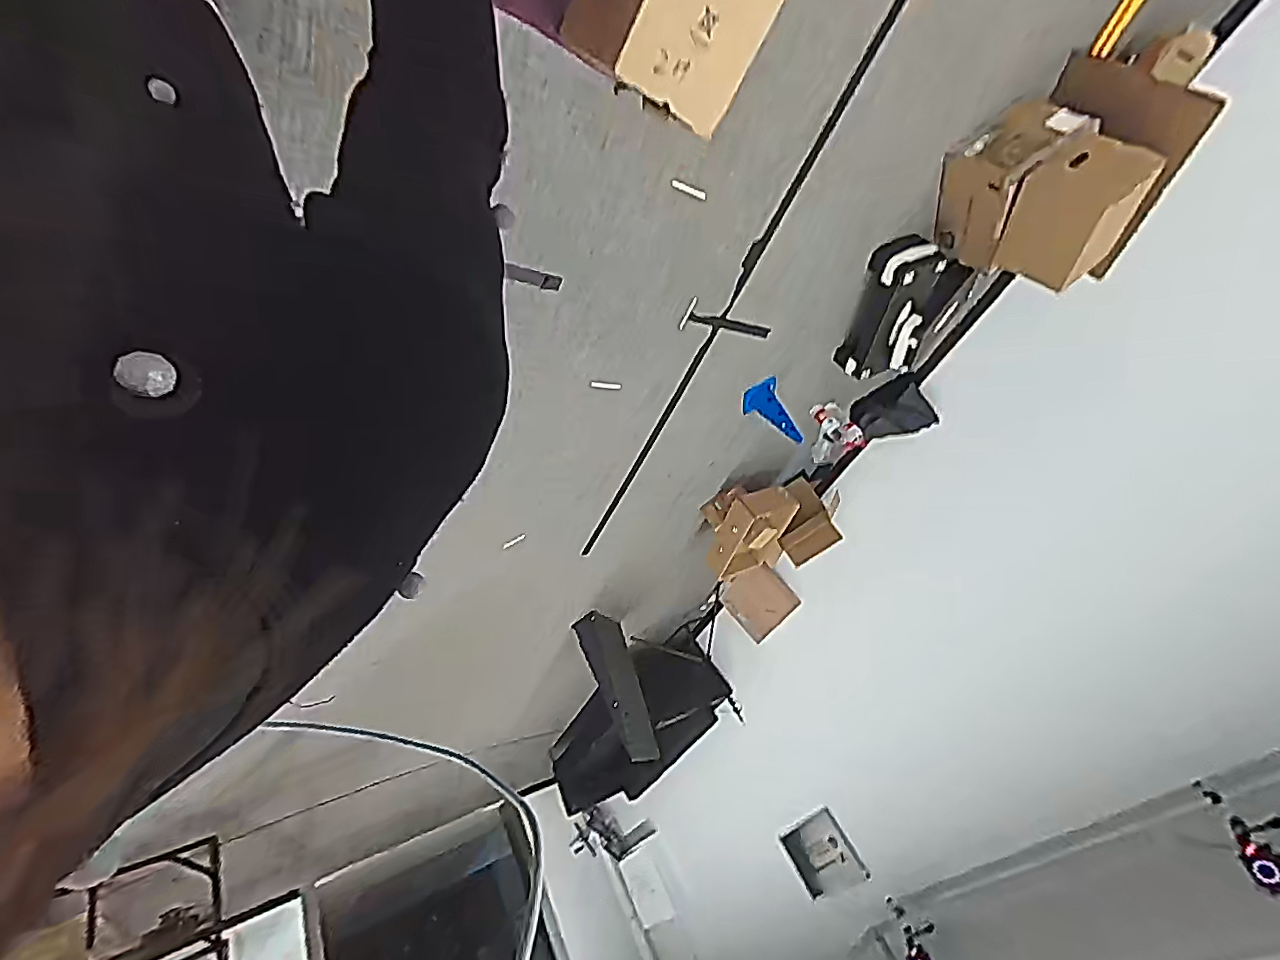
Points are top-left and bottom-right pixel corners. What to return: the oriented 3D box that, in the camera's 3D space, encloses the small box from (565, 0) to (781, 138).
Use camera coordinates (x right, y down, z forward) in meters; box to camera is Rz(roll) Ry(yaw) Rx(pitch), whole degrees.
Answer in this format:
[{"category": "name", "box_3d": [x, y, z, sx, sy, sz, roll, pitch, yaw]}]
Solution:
[{"category": "small box", "box_3d": [0.032, -0.570, 0.659, 0.168, 0.176, 0.179, 4, 132, -42]}]
